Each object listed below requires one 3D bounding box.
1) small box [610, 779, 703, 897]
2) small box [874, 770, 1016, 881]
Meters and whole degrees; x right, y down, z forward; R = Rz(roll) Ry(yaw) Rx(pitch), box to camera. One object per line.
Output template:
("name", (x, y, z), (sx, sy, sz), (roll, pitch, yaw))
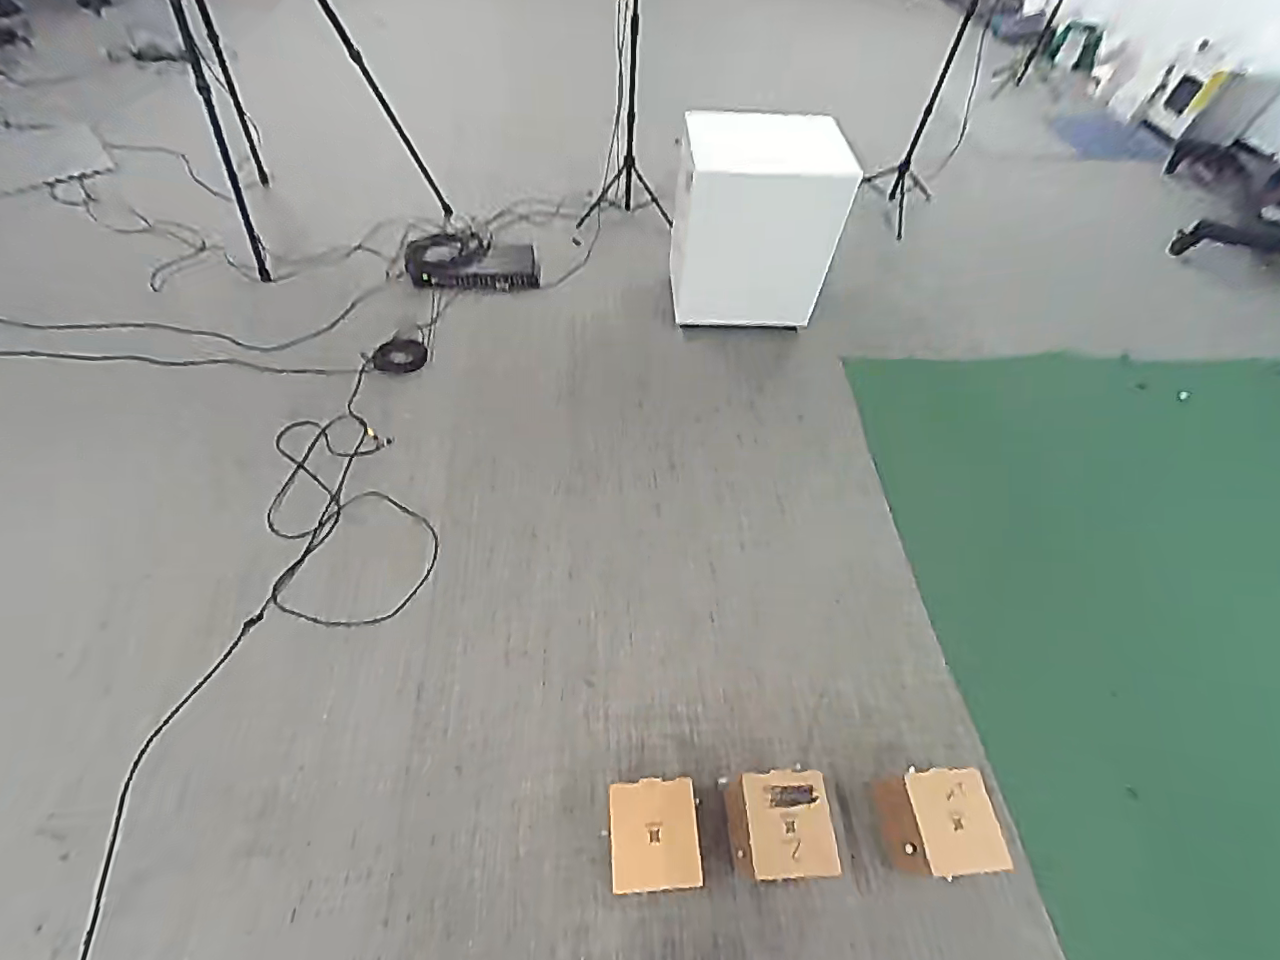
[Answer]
("small box", (0.026, 0.708, 1.076), (0.168, 0.176, 0.179), (-2, 55, -5))
("small box", (0.615, 0.710, 1.116), (0.168, 0.176, 0.179), (-1, 55, -6))
